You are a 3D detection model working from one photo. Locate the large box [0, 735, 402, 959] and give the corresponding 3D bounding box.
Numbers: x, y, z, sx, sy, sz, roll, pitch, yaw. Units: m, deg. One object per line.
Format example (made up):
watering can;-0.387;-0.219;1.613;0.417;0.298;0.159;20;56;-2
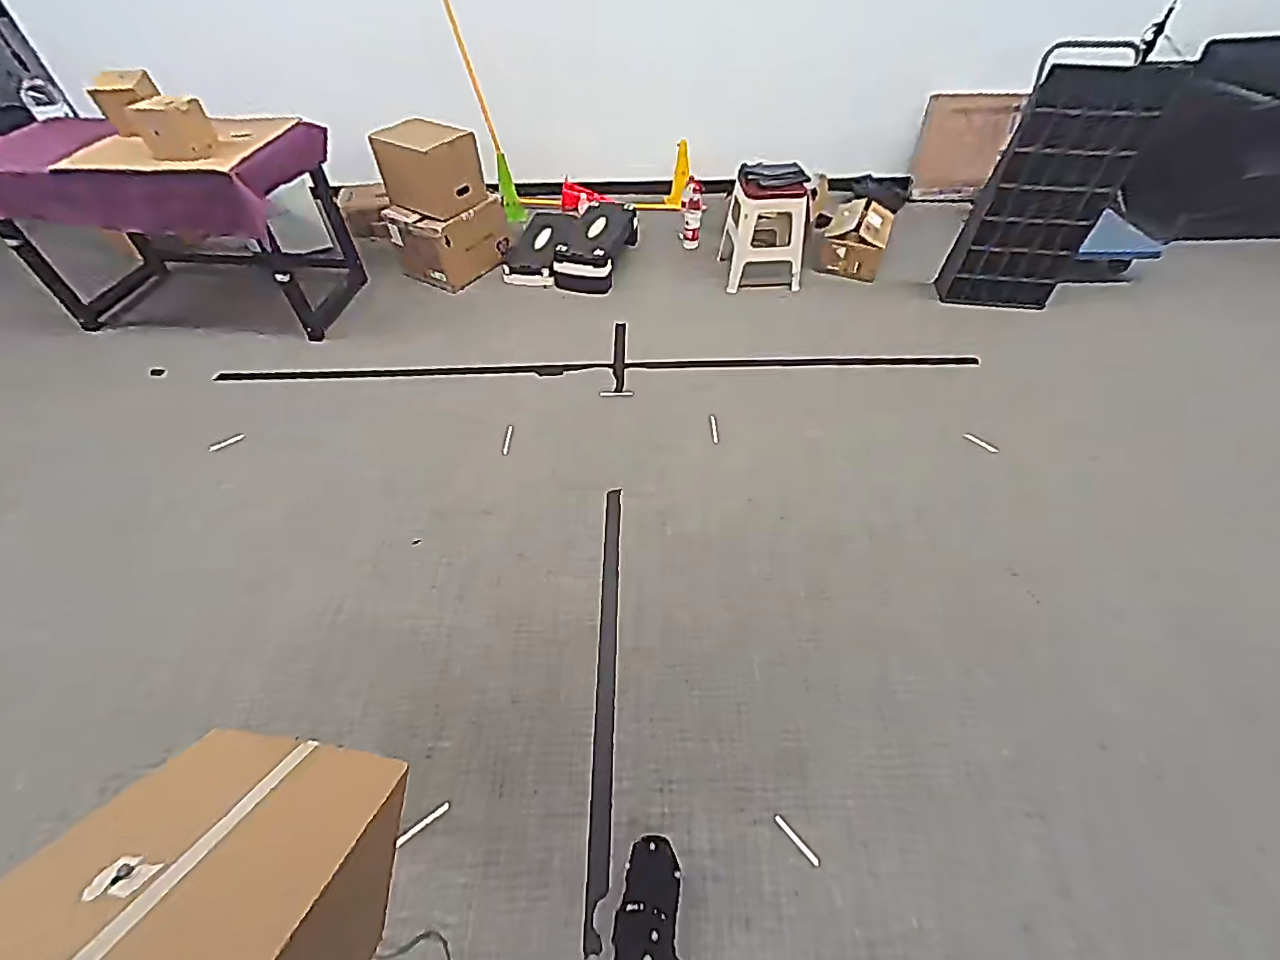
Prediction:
large box;-0.554;0.601;0.685;0.320;0.320;0.408;10;6;-1
